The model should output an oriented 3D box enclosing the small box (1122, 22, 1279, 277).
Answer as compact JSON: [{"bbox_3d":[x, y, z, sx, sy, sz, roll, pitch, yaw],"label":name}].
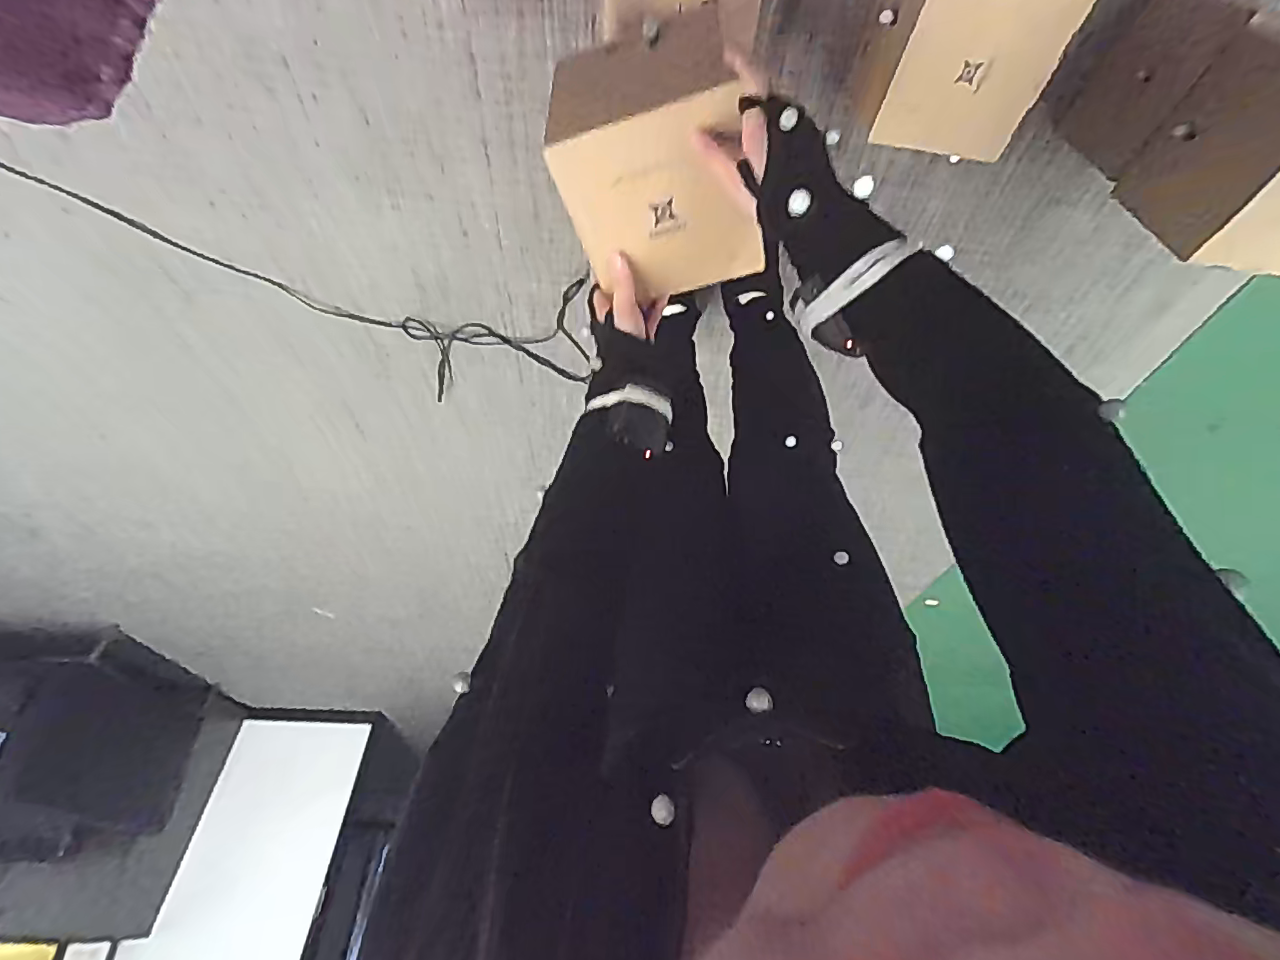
[{"bbox_3d":[0.689,-0.354,0.590,0.168,0.176,0.179,5,143,-7],"label":"small box"}]

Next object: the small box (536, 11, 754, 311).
[{"bbox_3d":[0.014,-0.305,0.535,0.168,0.176,0.179,-10,147,14],"label":"small box"}]

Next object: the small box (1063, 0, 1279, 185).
[{"bbox_3d":[0.691,-0.488,0.688,0.168,0.176,0.179,8,141,-8],"label":"small box"}]
